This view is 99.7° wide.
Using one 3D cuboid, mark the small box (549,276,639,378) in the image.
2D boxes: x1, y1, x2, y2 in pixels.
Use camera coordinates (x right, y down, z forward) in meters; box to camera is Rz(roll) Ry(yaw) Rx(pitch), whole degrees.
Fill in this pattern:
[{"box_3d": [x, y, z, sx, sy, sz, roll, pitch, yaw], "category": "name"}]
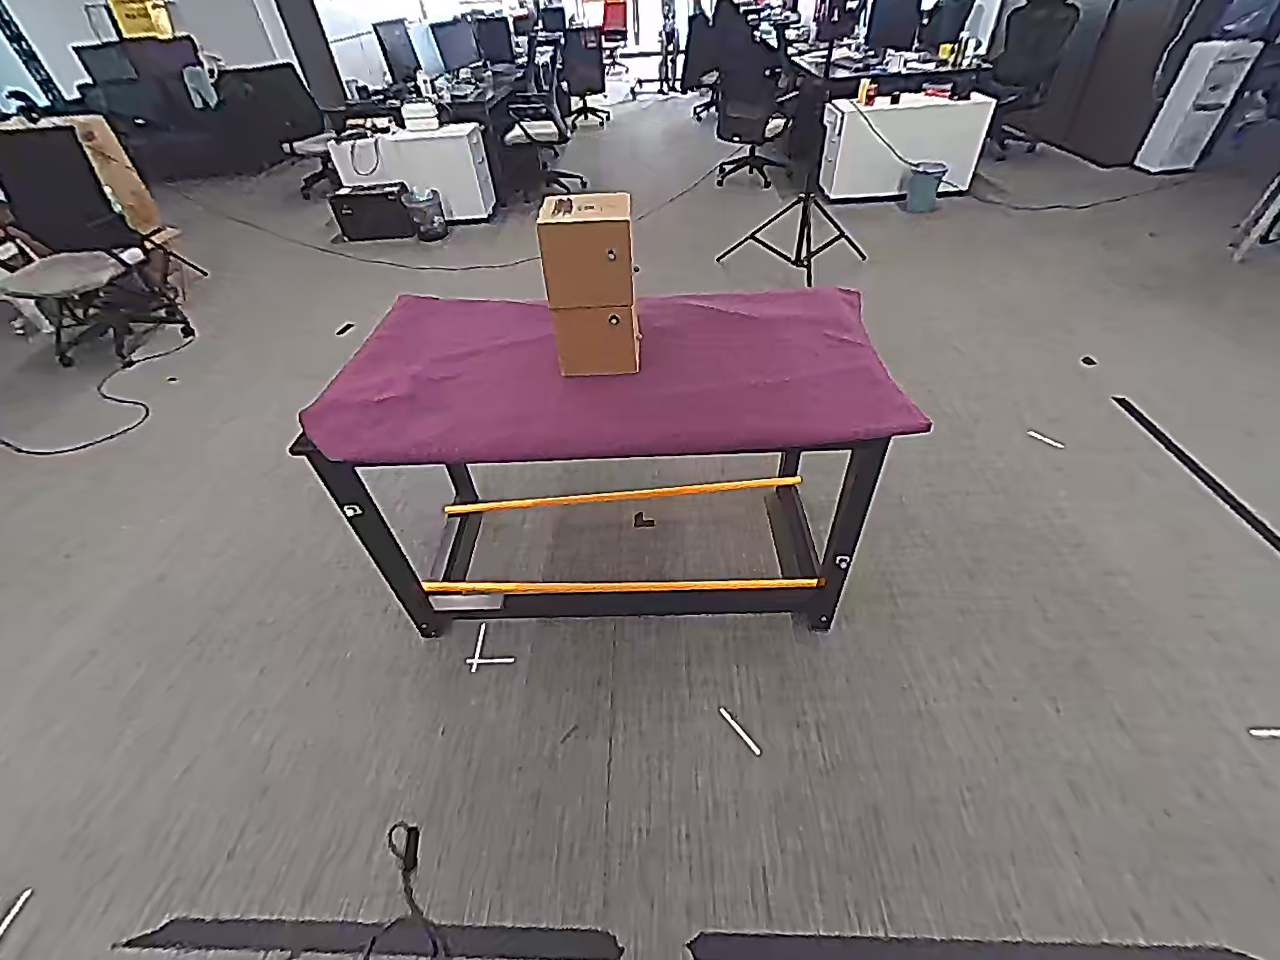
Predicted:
[{"box_3d": [-0.096, -0.342, 1.218, 0.179, 0.176, 0.168, -2, 43, 2], "category": "small box"}]
